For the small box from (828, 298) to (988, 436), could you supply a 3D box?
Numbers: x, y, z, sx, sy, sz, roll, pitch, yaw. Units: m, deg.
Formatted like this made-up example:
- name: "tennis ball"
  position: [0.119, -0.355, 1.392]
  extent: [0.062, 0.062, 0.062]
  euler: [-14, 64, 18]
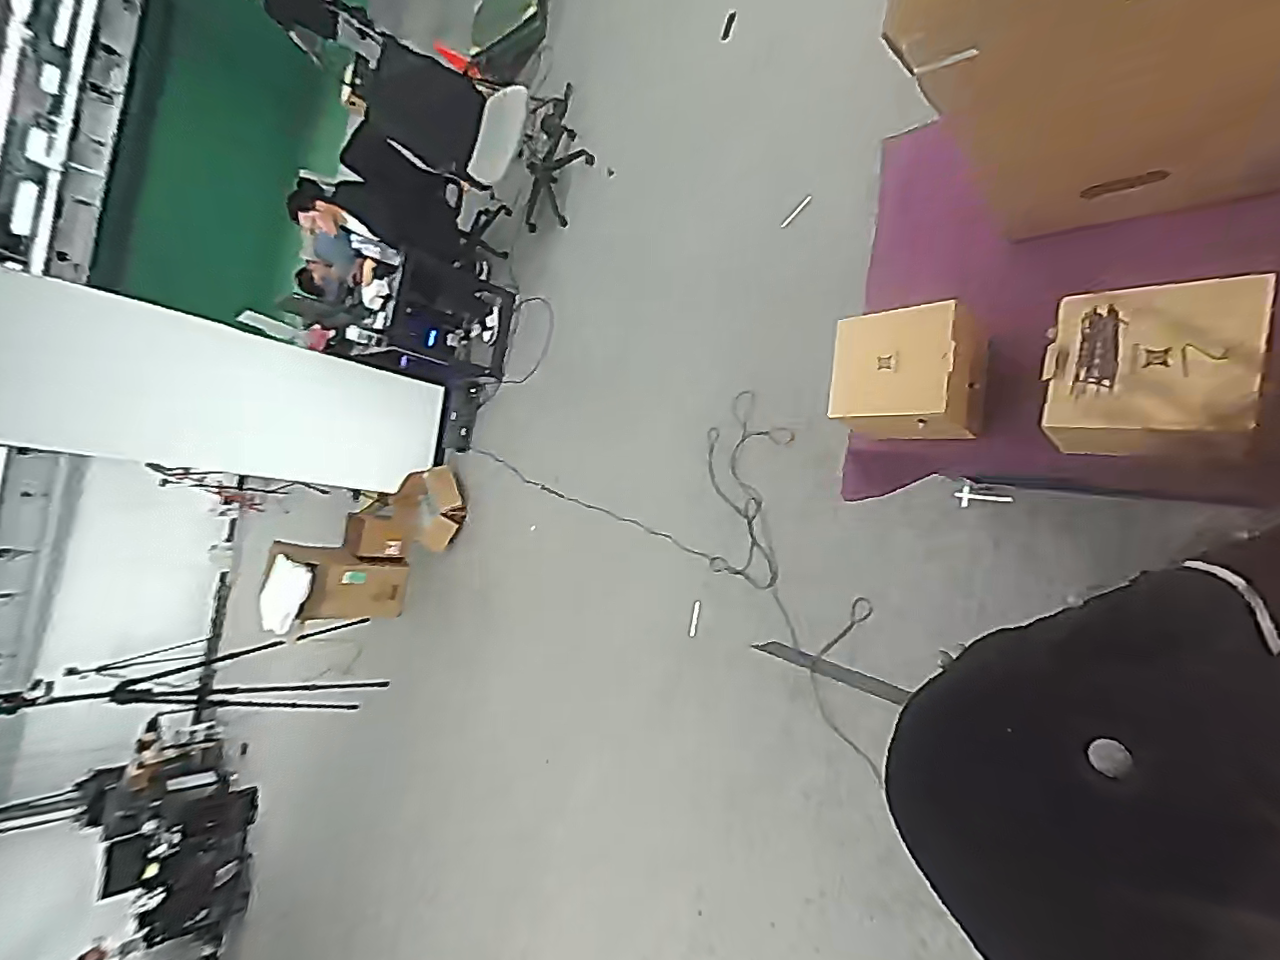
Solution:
- name: "small box"
  position: [0.429, -0.167, 0.864]
  extent: [0.179, 0.176, 0.168]
  euler: [4, 84, 45]
